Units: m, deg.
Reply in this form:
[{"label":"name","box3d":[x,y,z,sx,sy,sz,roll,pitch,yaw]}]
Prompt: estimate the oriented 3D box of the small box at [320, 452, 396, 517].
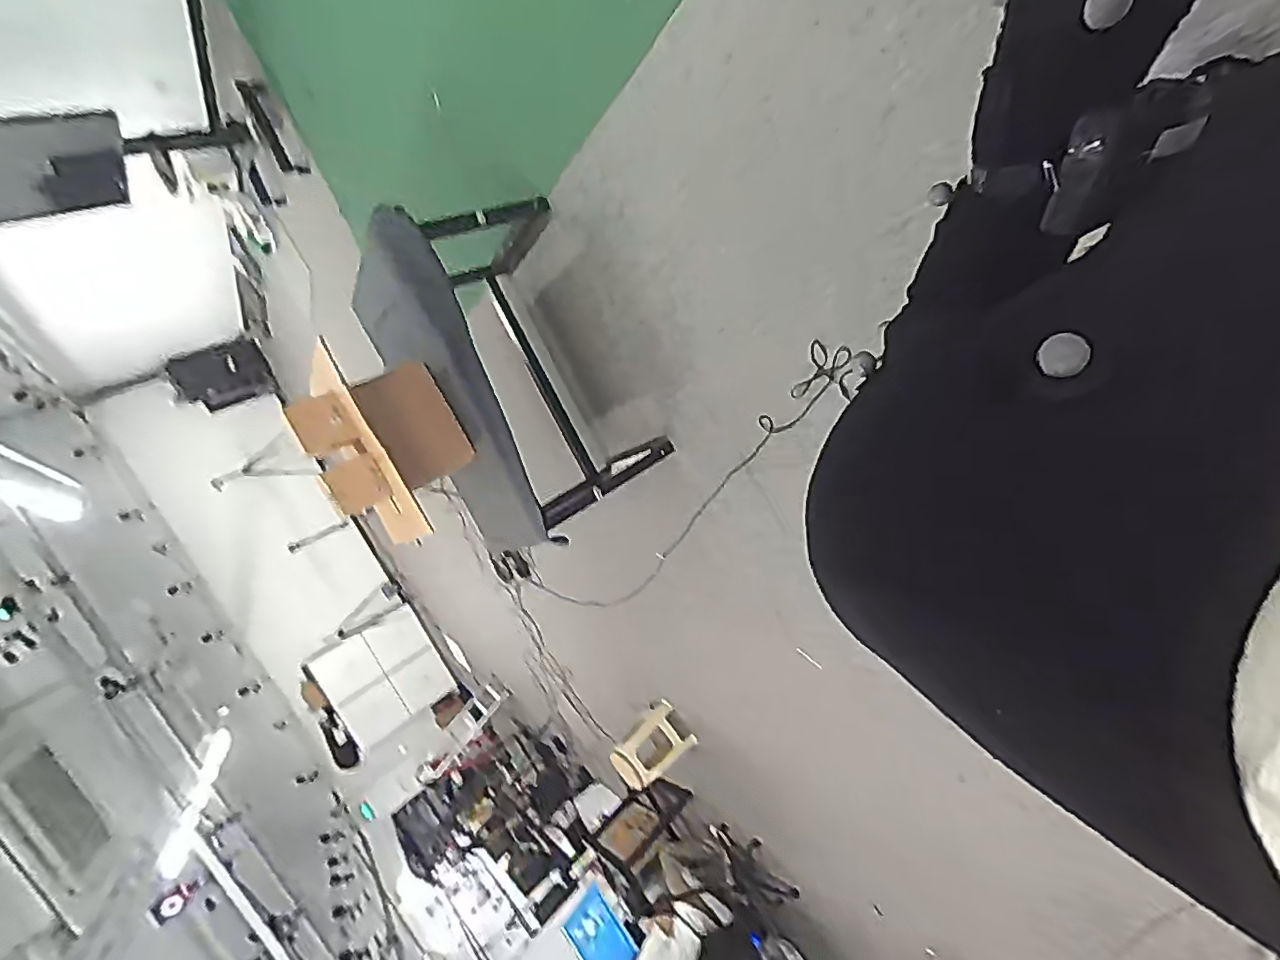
[{"label":"small box","box3d":[-0.969,0.015,1.864,0.179,0.176,0.168,-12,107,55]}]
